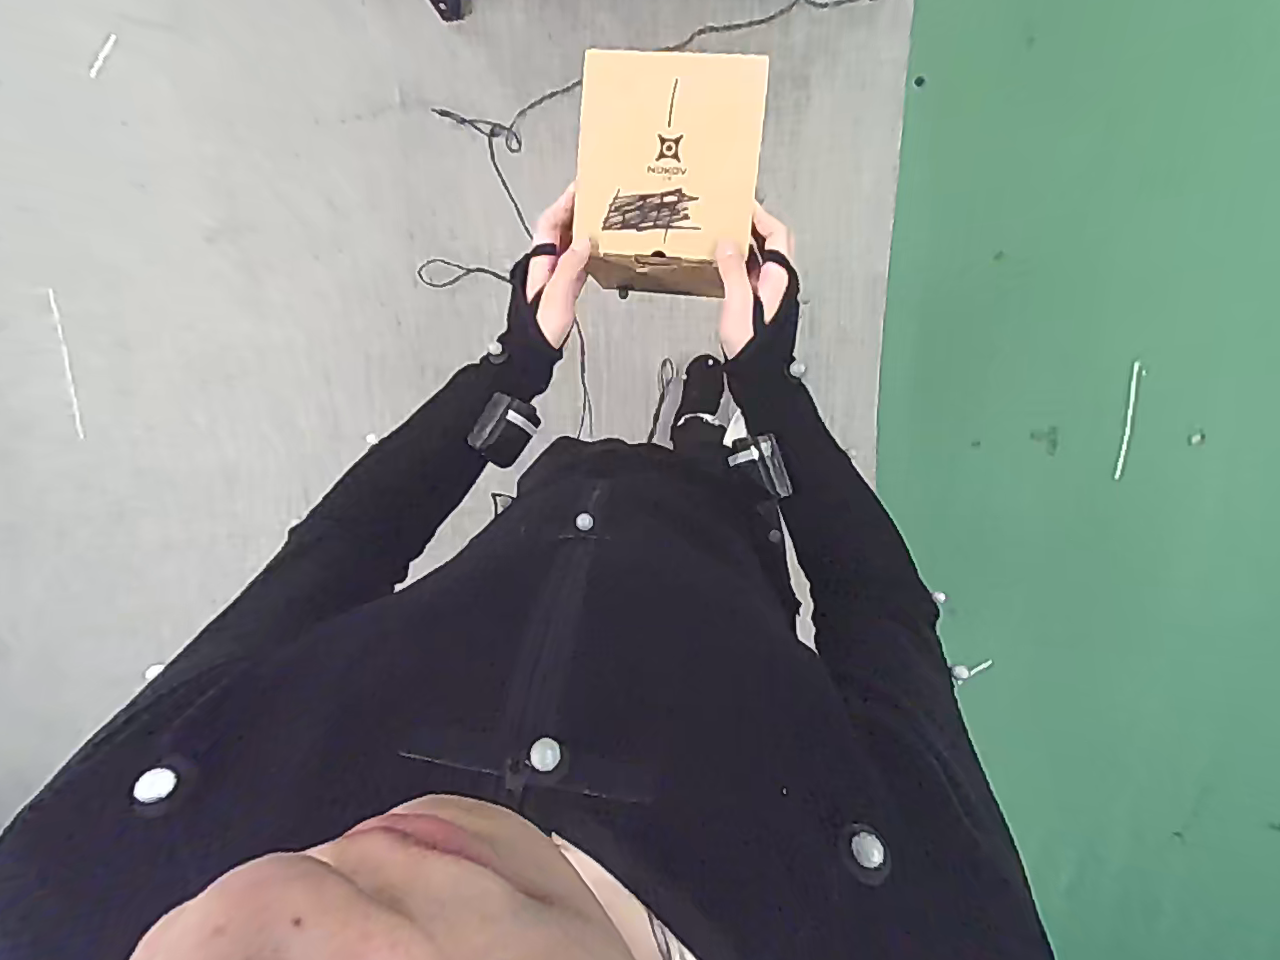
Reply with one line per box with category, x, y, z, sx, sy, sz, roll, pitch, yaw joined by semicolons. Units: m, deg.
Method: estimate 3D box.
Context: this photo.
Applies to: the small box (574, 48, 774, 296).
small box;0.035;-0.296;0.558;0.168;0.176;0.179;6;98;5
